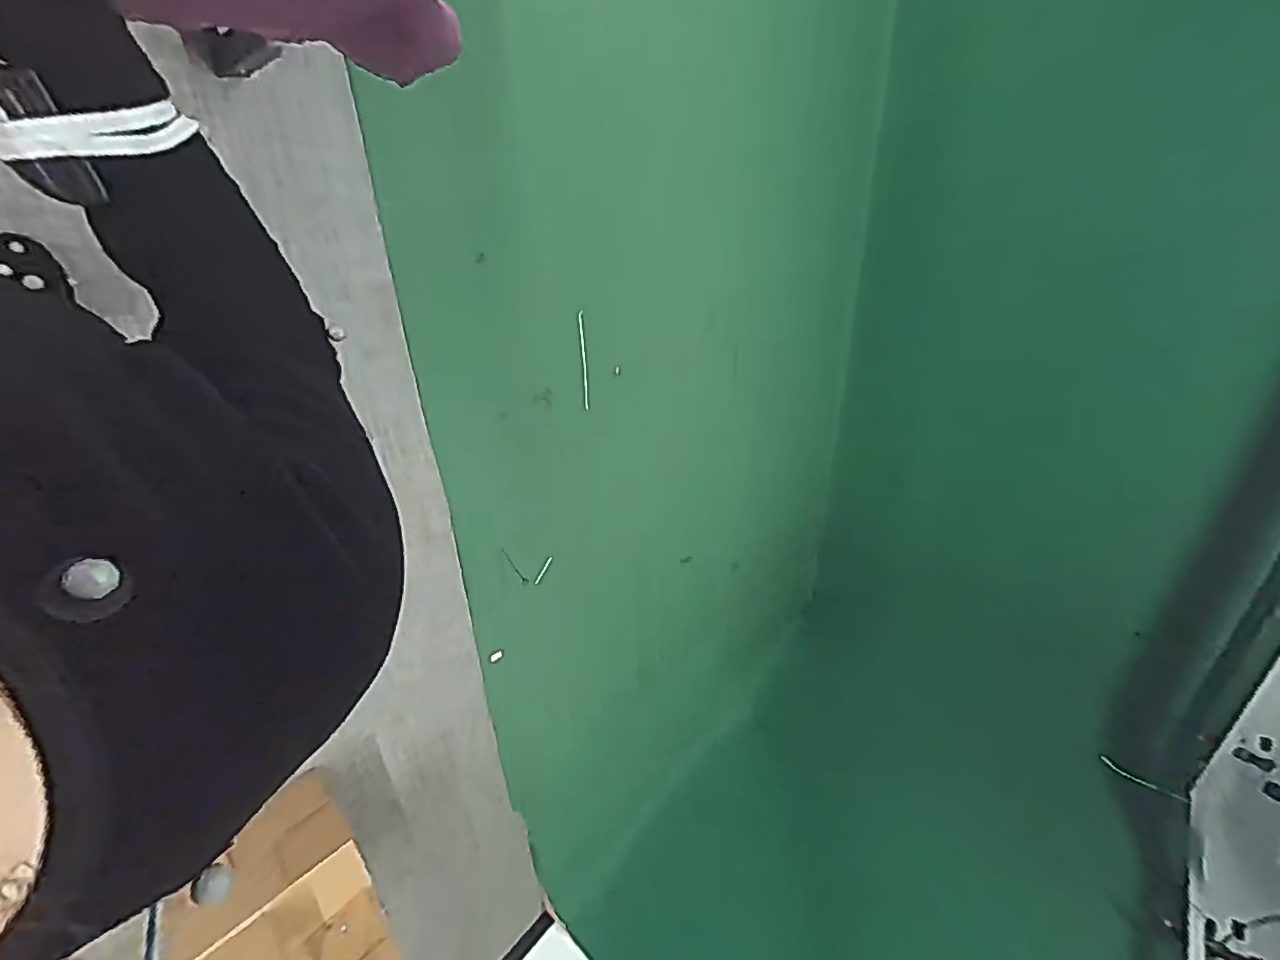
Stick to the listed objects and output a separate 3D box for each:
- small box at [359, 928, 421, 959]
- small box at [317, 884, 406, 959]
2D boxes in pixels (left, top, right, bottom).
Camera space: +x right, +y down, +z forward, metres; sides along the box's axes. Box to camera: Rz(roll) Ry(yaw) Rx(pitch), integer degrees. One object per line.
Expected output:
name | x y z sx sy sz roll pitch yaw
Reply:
small box | -0.659 1.347 1.424 0.168 0.176 0.179 -27 129 -43
small box | -0.779 1.303 1.531 0.168 0.176 0.179 -29 131 -42
